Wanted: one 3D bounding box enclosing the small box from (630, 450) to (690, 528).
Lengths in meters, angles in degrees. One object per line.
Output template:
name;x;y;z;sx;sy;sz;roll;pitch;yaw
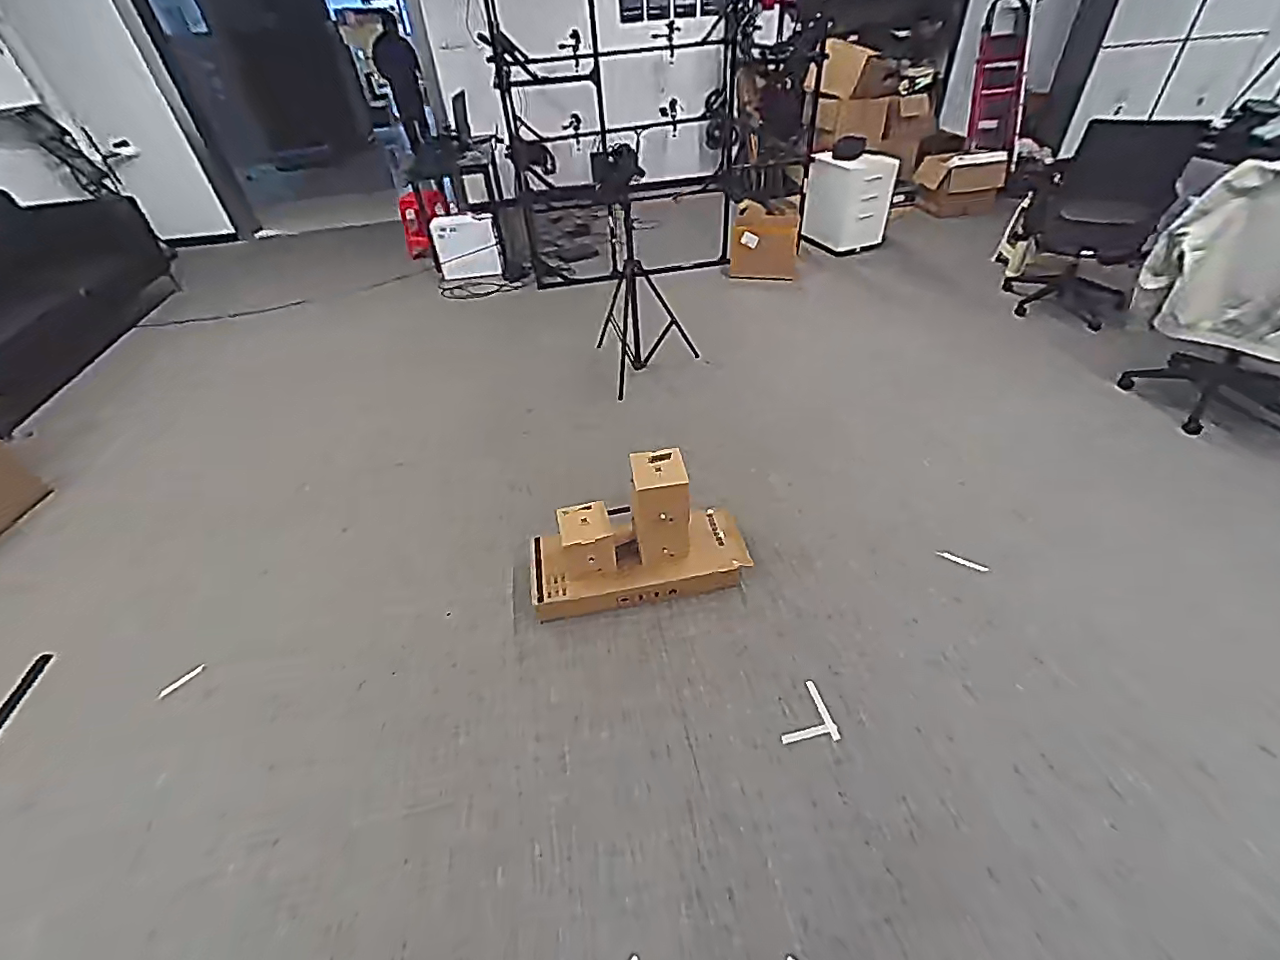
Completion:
small box;0.062;0.028;1.740;0.168;0.176;0.179;-8;41;-3

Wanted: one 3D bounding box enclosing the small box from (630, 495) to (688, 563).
small box;0.065;0.156;1.844;0.168;0.176;0.179;-11;41;-6

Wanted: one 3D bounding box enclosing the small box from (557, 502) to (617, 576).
small box;-0.176;0.203;1.813;0.168;0.176;0.179;-12;42;-8
